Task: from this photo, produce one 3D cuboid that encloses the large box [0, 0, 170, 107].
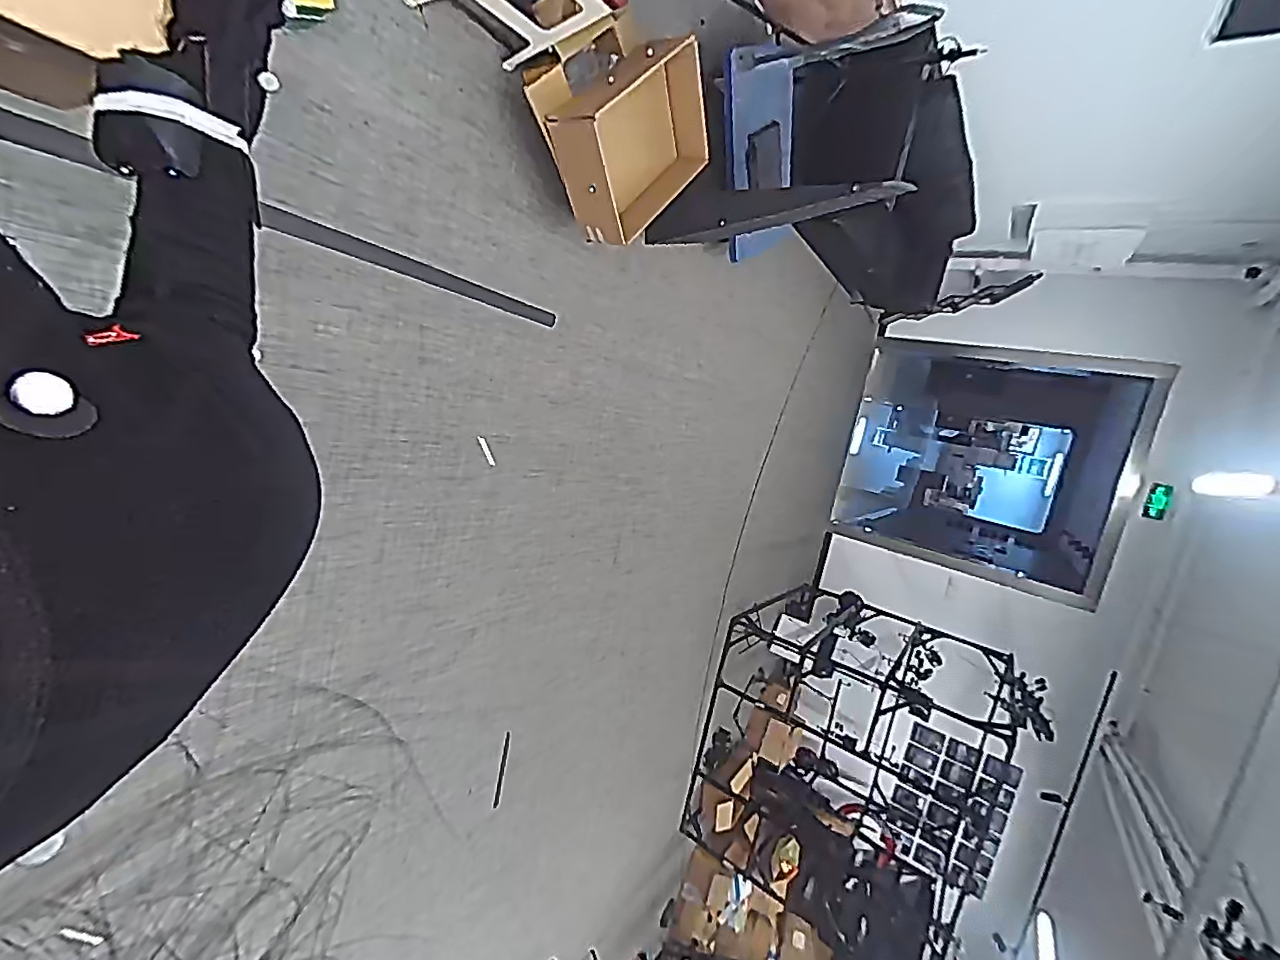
[{"bbox_3d":[-0.541,-0.465,0.276,0.408,0.320,0.320,-3,111,-57],"label":"large box"}]
